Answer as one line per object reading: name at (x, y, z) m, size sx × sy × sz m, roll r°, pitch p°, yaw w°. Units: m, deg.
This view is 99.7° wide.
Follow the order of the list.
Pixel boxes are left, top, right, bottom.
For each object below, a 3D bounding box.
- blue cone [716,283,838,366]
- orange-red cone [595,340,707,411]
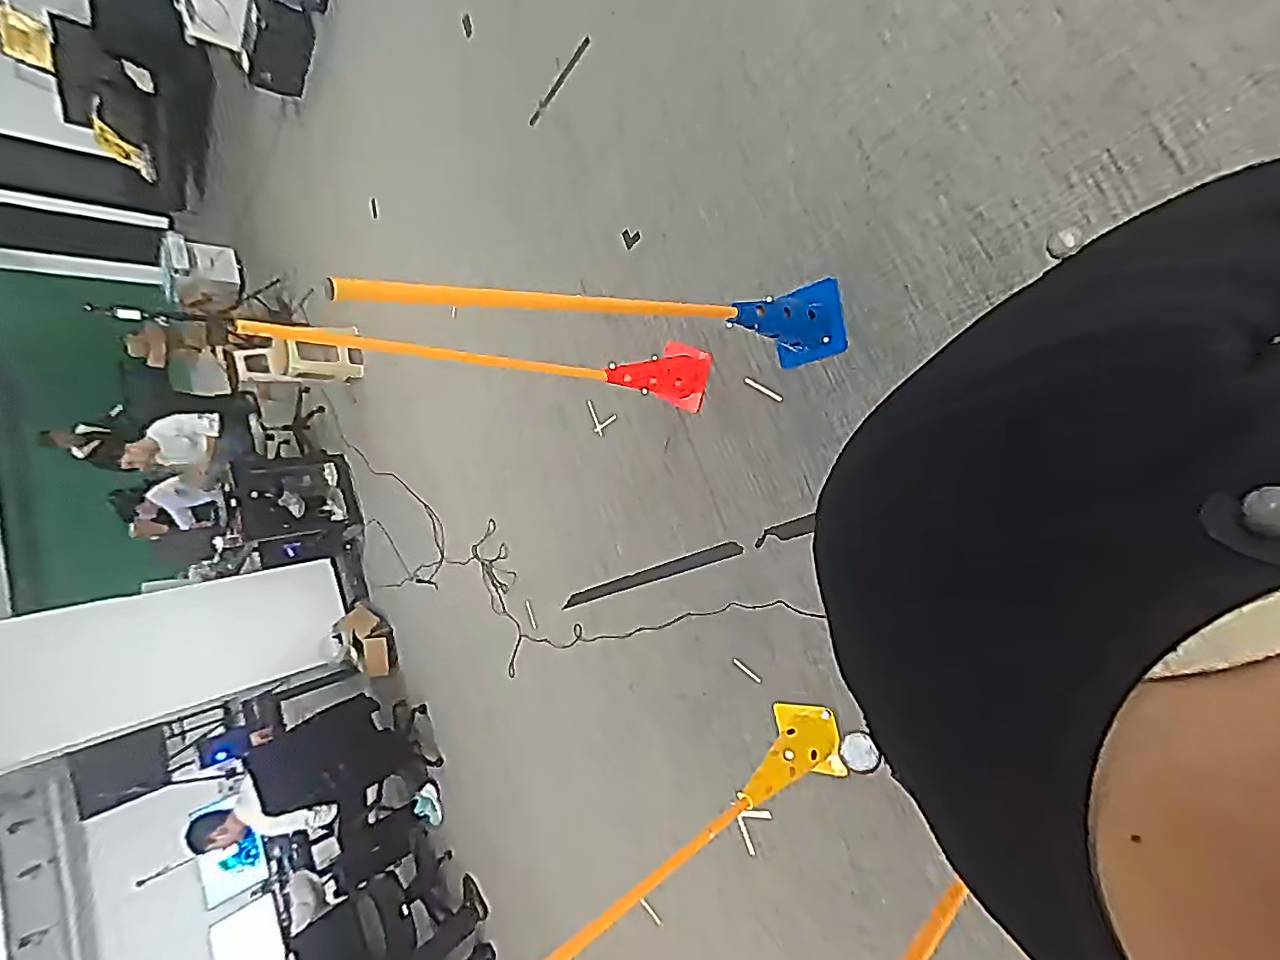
blue cone at (0.324, -0.399, 1.347) m, size 0.192 × 0.380 × 0.193 m, roll -7°, pitch 92°, yaw 46°
orange-red cone at (0.008, -0.320, 1.649) m, size 0.199 × 0.360 × 0.198 m, roll 31°, pitch 118°, yaw 35°
